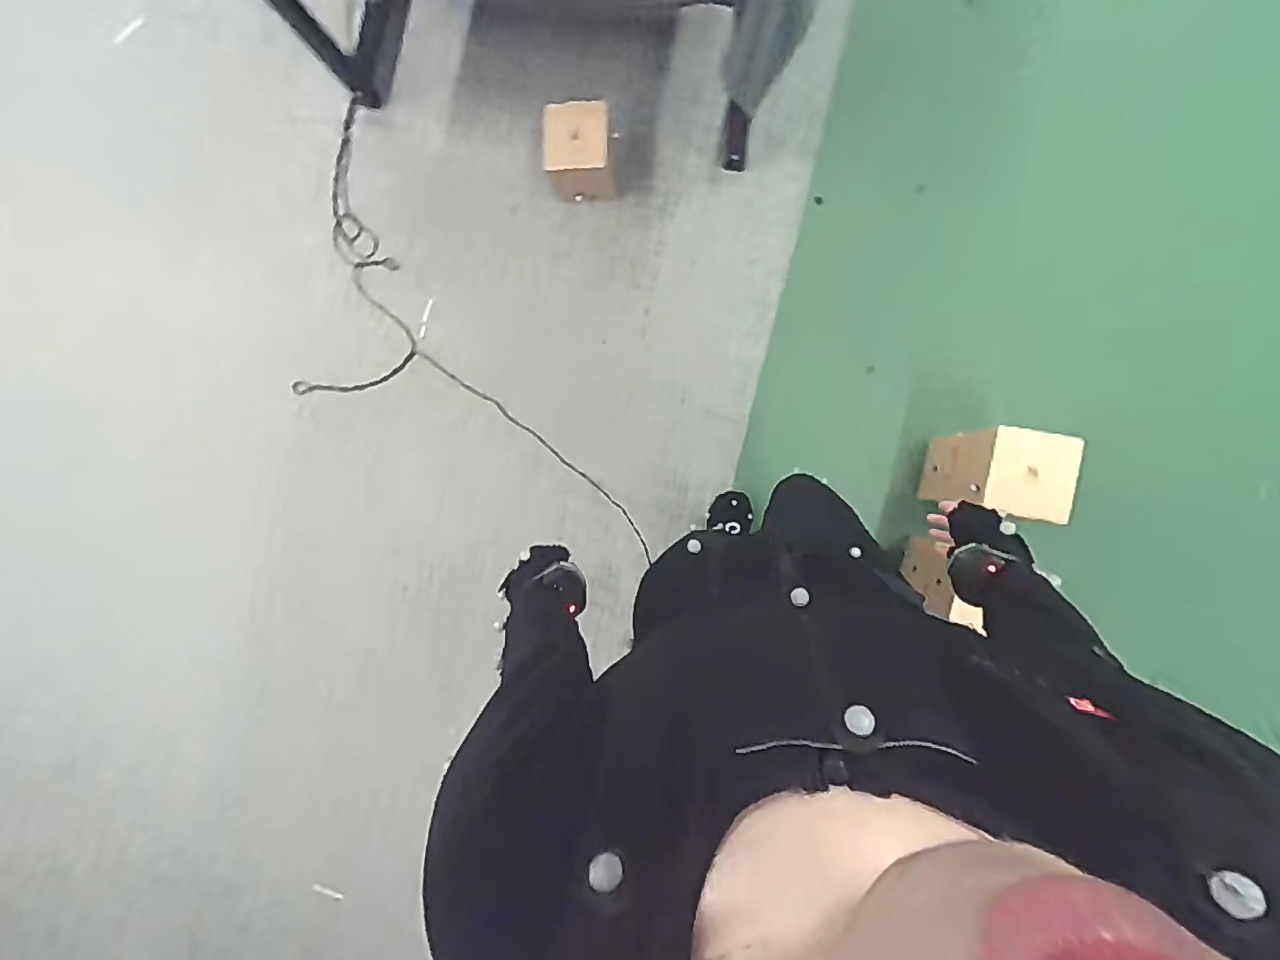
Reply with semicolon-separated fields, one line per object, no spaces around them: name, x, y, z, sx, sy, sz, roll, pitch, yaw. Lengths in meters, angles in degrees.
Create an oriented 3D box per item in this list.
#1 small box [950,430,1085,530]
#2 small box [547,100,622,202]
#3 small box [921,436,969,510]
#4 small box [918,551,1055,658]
small box;0.802;0.000;1.169;0.168;0.176;0.179;12;92;7
small box;-0.144;-0.881;1.458;0.168;0.176;0.179;2;89;8
small box;0.823;-0.003;1.331;0.179;0.176;0.168;14;91;8
small box;0.737;0.259;1.173;0.179;0.176;0.168;16;92;7
